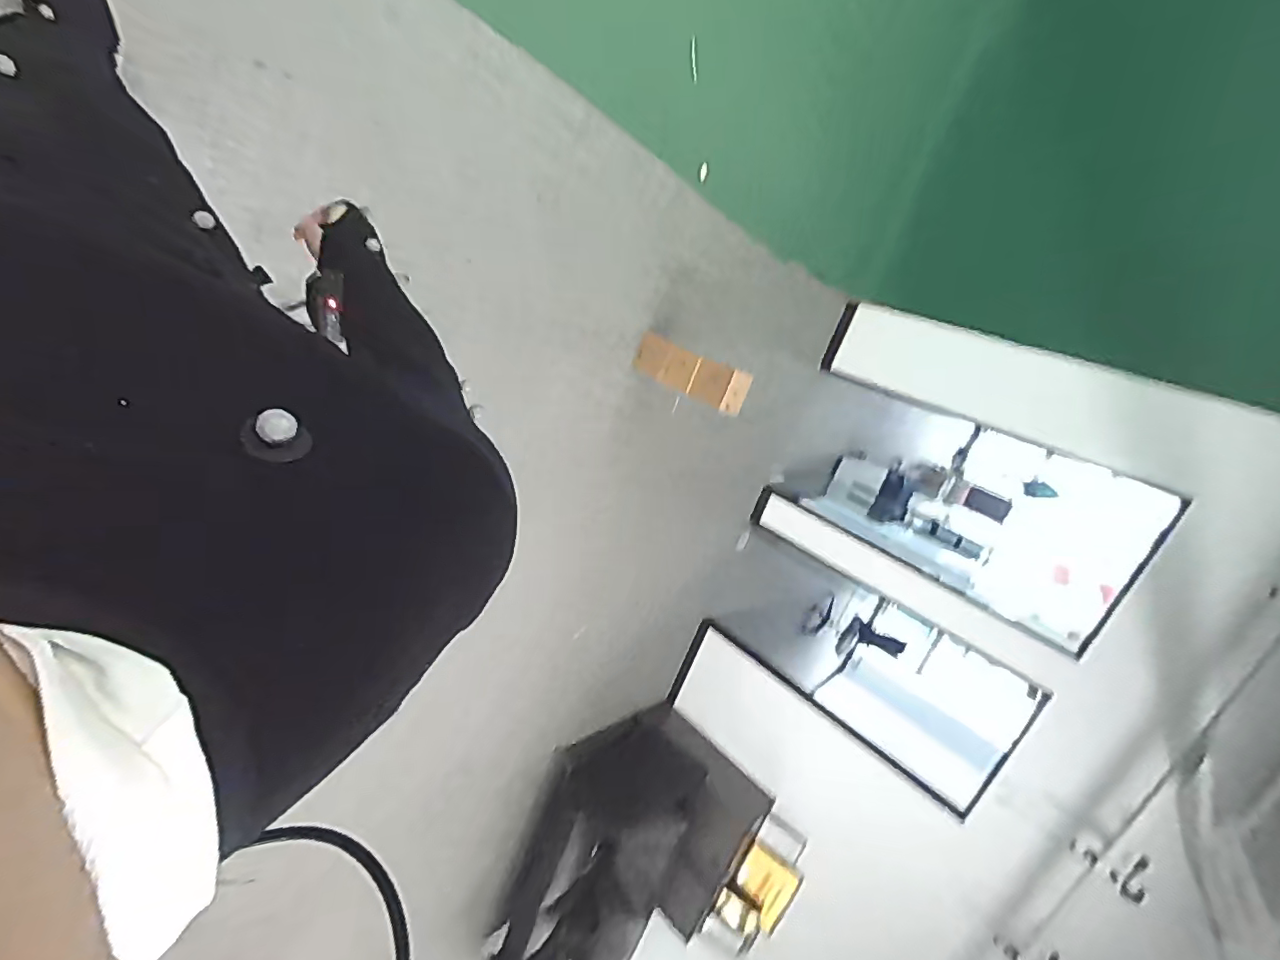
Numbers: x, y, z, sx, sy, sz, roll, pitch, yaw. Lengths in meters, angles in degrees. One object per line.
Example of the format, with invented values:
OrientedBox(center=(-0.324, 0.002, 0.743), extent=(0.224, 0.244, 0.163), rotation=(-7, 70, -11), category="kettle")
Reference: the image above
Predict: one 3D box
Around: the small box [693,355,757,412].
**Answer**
OrientedBox(center=(0.345, -0.398, 2.223), extent=(0.168, 0.176, 0.179), rotation=(1, 114, -51), category="small box")

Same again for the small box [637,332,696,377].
OrientedBox(center=(0.117, -0.545, 2.405), extent=(0.179, 0.176, 0.168), rotation=(3, 114, -52), category="small box")

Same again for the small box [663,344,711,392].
OrientedBox(center=(0.228, -0.471, 2.313), extent=(0.179, 0.176, 0.168), rotation=(0, 116, -51), category="small box")
